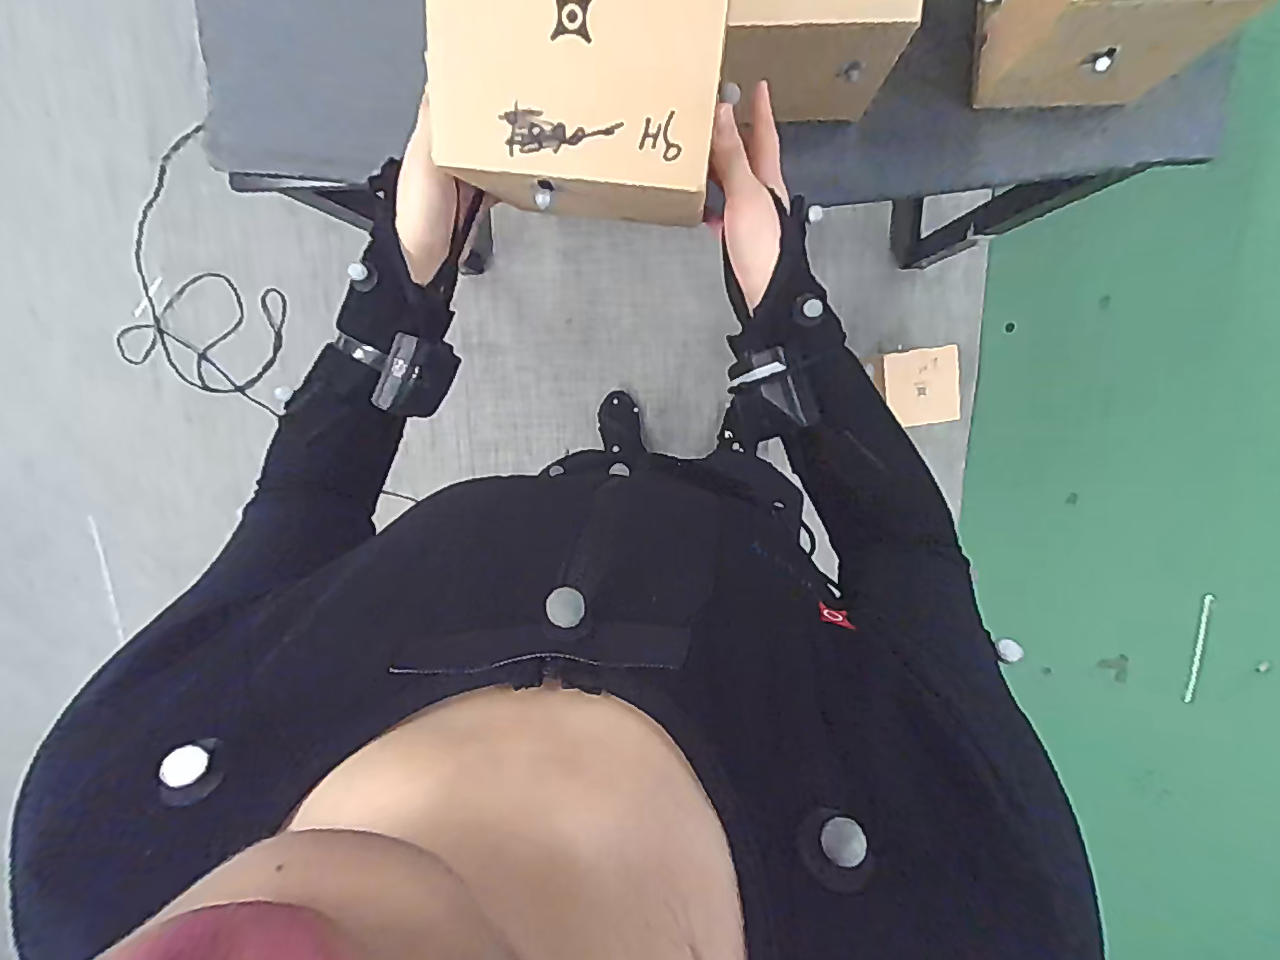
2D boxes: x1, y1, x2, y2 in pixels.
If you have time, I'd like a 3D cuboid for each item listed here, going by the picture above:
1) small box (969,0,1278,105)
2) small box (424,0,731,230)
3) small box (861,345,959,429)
[{"bbox_3d":[0.458,-0.494,0.522,0.179,0.176,0.168,2,97,5],"label":"small box"},{"bbox_3d":[-0.028,-0.282,0.365,0.168,0.176,0.179,8,109,3],"label":"small box"},{"bbox_3d":[0.648,-0.227,1.311,0.168,0.176,0.179,-7,101,5],"label":"small box"}]
